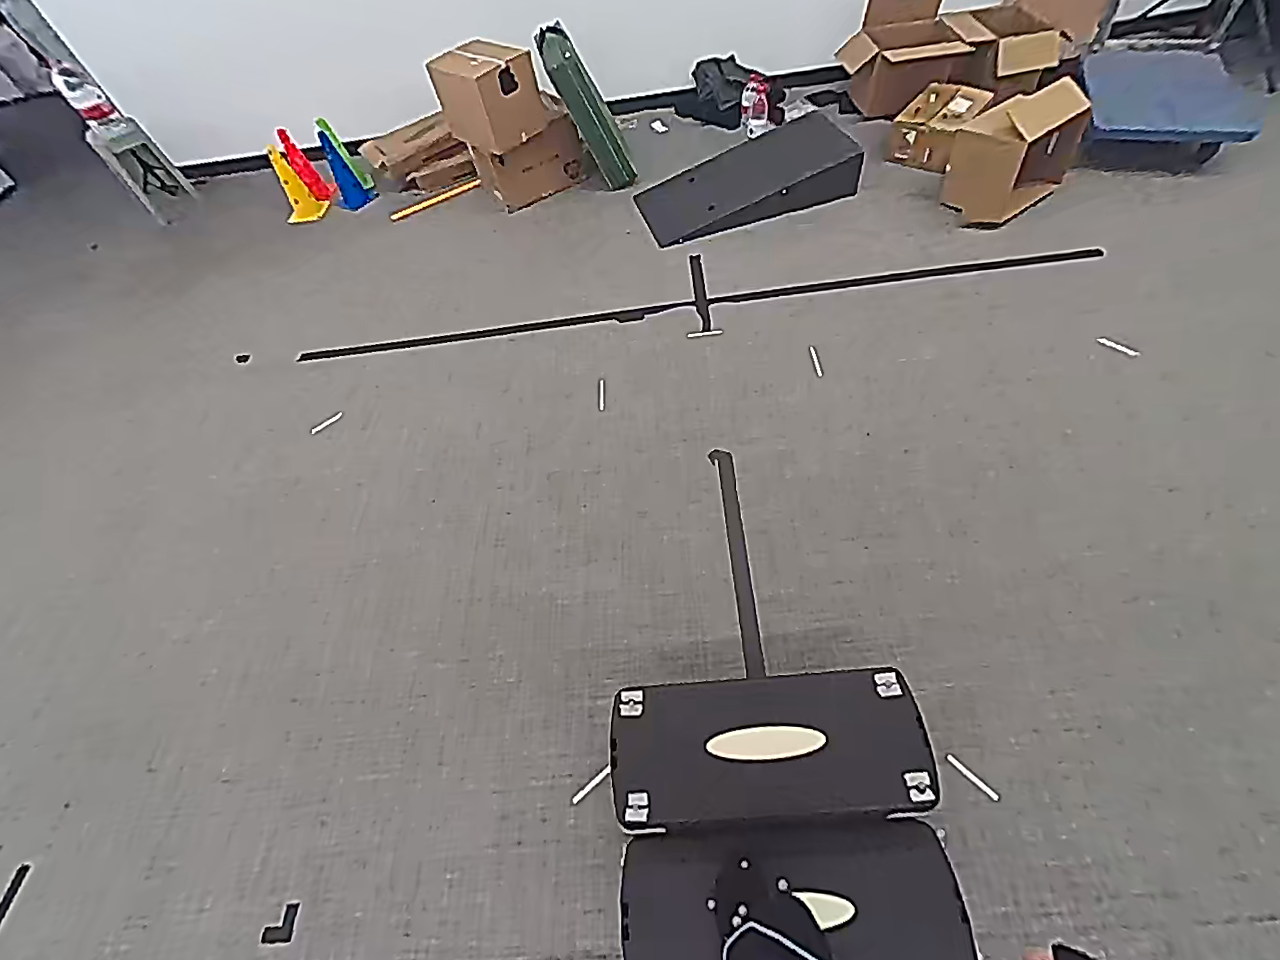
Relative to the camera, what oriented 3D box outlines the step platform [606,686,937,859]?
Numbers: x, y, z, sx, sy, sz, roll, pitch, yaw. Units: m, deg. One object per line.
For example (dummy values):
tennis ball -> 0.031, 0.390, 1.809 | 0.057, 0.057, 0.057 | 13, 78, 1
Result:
step platform -> 0.265, 0.644, 1.198 | 0.684, 0.204, 0.286 | -7, 55, 3
